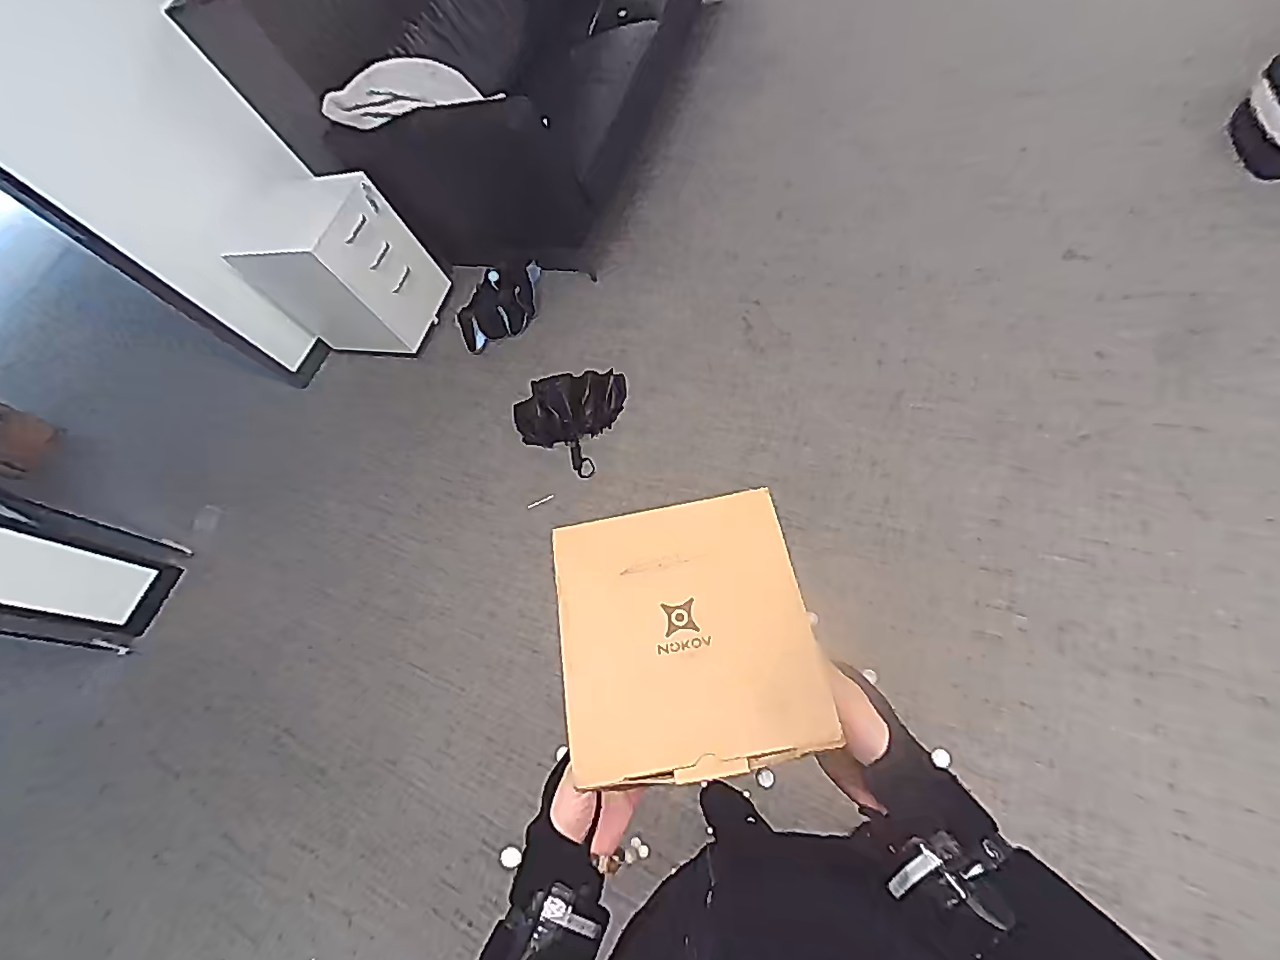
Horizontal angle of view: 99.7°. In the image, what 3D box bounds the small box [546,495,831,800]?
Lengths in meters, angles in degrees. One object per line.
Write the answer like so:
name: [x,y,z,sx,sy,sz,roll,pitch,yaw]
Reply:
small box: [0.032,0.139,0.429,0.168,0.176,0.179,-12,59,1]
